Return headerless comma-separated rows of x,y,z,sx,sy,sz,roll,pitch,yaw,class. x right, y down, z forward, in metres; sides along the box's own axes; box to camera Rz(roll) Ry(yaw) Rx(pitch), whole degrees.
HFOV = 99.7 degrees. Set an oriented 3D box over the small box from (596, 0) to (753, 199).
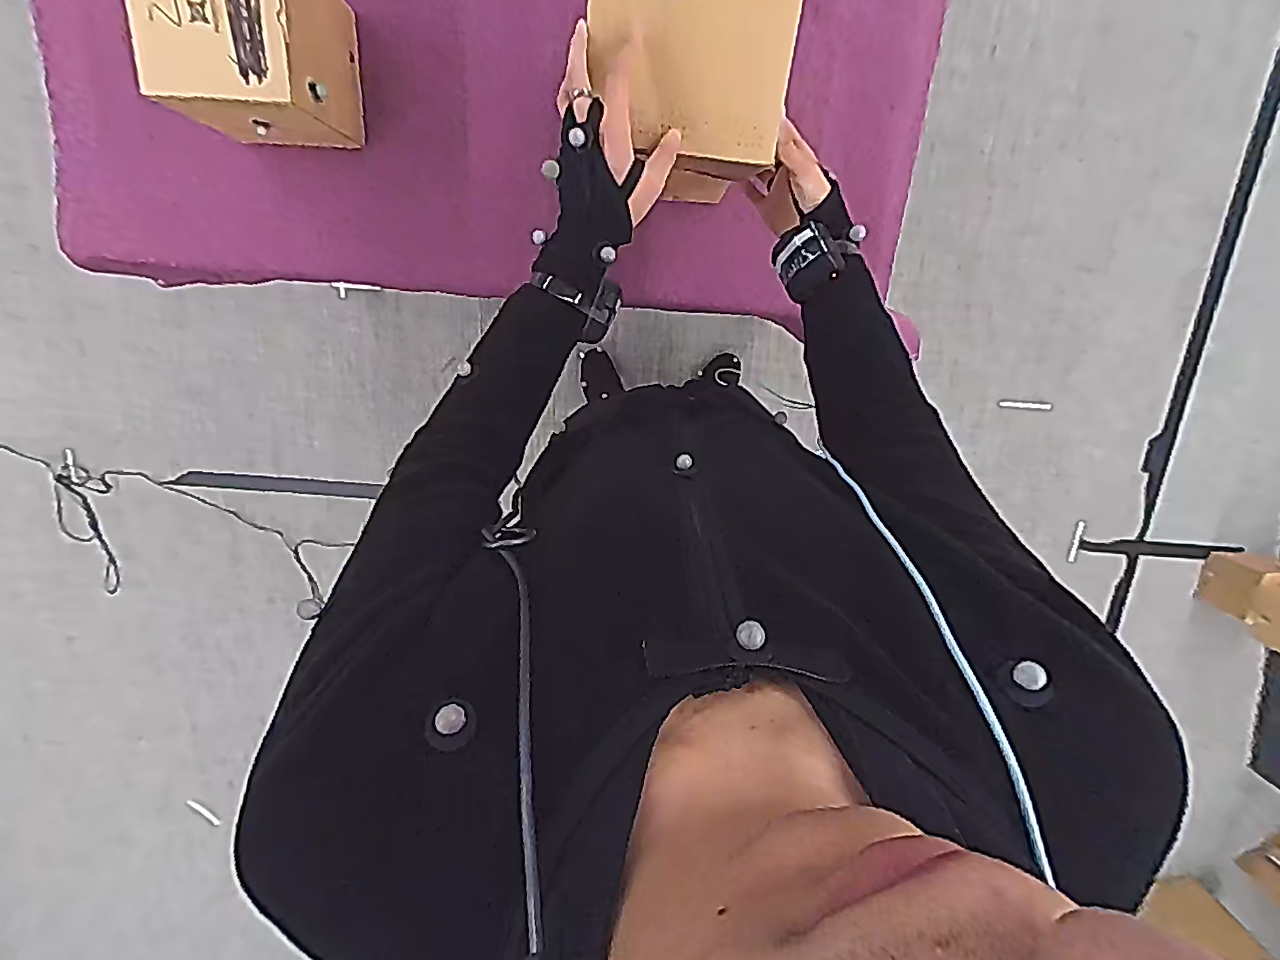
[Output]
0.037,-0.471,0.687,0.168,0.176,0.179,4,106,-1,small box
